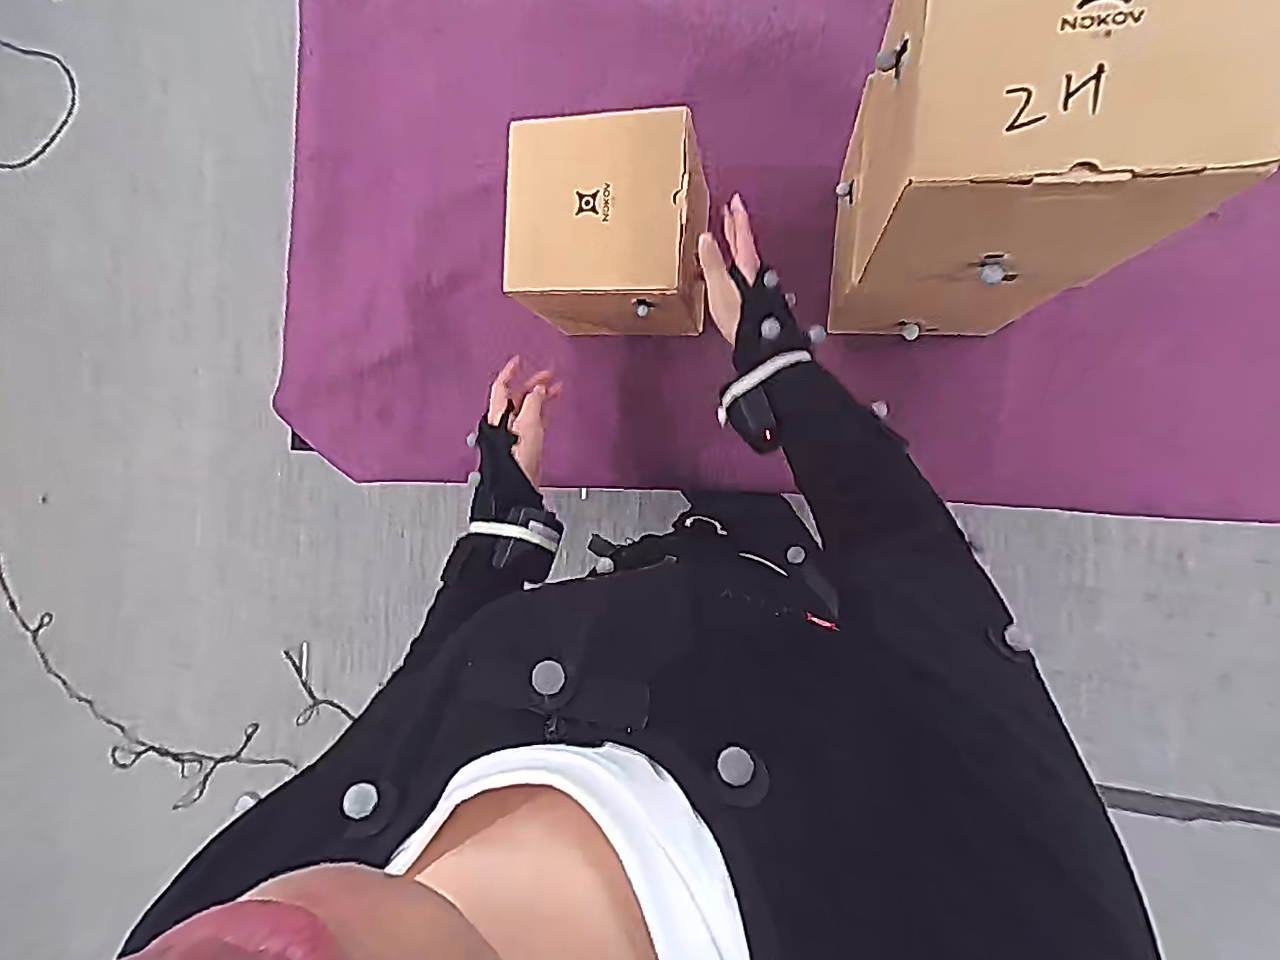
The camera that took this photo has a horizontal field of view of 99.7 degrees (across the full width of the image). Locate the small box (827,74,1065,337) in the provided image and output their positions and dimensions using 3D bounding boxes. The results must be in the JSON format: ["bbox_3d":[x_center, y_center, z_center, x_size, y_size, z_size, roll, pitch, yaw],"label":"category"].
[{"bbox_3d":[0.279,-0.248,0.517,0.168,0.176,0.179,5,92,13],"label":"small box"}]

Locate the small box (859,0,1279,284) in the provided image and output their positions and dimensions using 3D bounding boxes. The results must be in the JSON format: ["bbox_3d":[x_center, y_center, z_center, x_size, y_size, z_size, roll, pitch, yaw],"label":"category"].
[{"bbox_3d":[0.248,-0.245,0.354,0.168,0.176,0.179,5,92,13],"label":"small box"}]

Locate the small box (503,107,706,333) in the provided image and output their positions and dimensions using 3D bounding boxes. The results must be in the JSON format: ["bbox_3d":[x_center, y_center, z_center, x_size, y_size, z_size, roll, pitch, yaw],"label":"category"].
[{"bbox_3d":[-0.028,-0.261,0.585,0.179,0.176,0.168,3,91,12],"label":"small box"}]
